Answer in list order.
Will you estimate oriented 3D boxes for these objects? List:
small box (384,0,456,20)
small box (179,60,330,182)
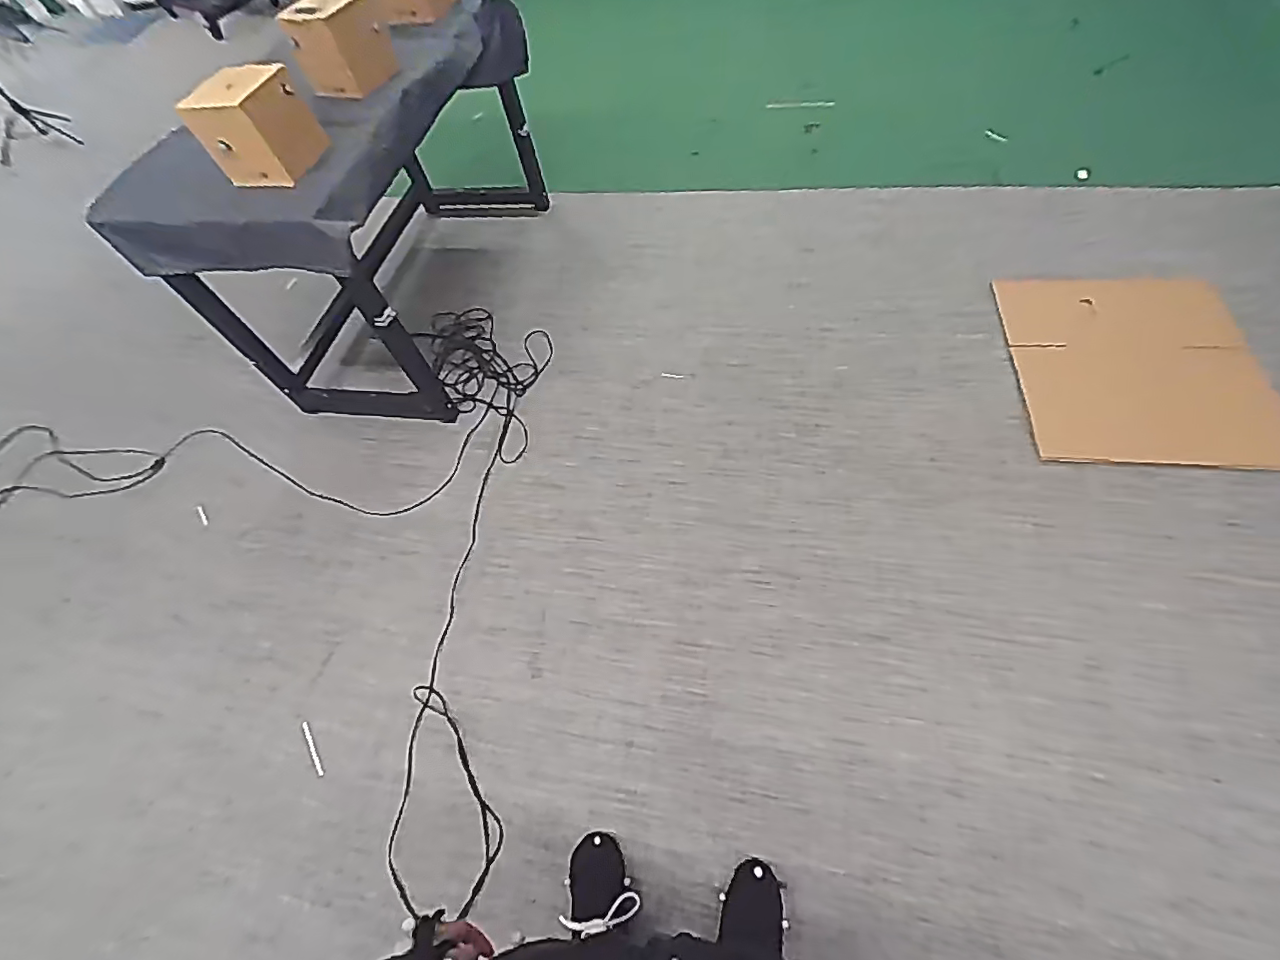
[{"bbox_3d":[-0.657,-1.473,1.571,0.168,0.176,0.179,11,61,13],"label":"small box"},{"bbox_3d":[-0.825,-0.775,1.179,0.168,0.176,0.179,7,60,13],"label":"small box"}]
